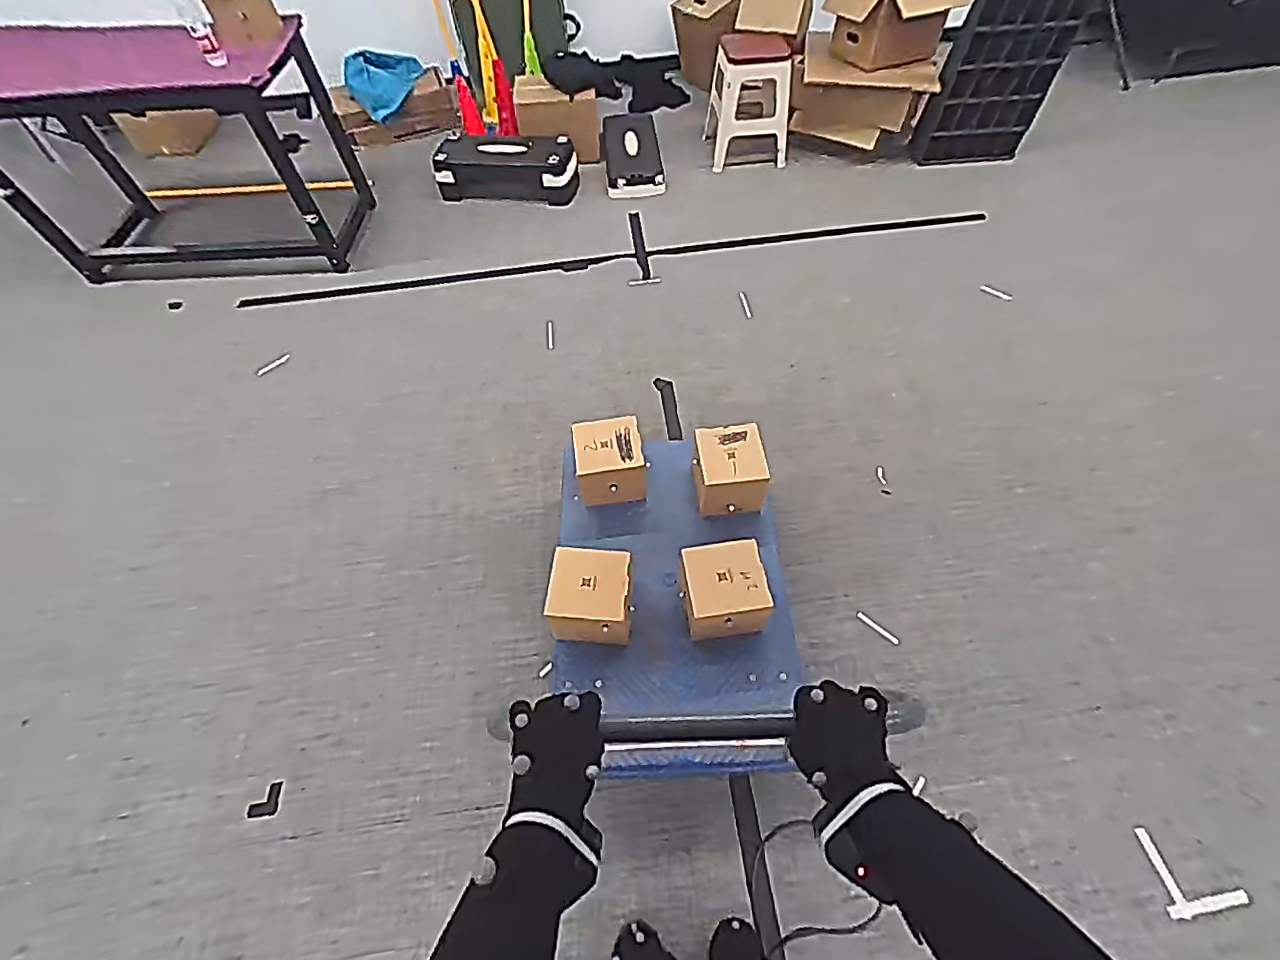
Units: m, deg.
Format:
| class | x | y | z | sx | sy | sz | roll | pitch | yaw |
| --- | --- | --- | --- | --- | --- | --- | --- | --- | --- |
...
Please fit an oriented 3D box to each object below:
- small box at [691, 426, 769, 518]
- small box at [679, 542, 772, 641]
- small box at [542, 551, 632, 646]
| class | x | y | z | sx | sy | sz | roll | pitch | yaw |
| --- | --- | --- | --- | --- | --- | --- | --- | --- | --- |
| small box | 0.230 | -0.020 | 1.430 | 0.168 | 0.176 | 0.179 | -6 | 58 | -1 |
| small box | 0.189 | 0.263 | 1.251 | 0.179 | 0.176 | 0.168 | -8 | 57 | -2 |
| small box | -0.115 | 0.278 | 1.255 | 0.179 | 0.176 | 0.168 | 3 | 57 | 3 |
